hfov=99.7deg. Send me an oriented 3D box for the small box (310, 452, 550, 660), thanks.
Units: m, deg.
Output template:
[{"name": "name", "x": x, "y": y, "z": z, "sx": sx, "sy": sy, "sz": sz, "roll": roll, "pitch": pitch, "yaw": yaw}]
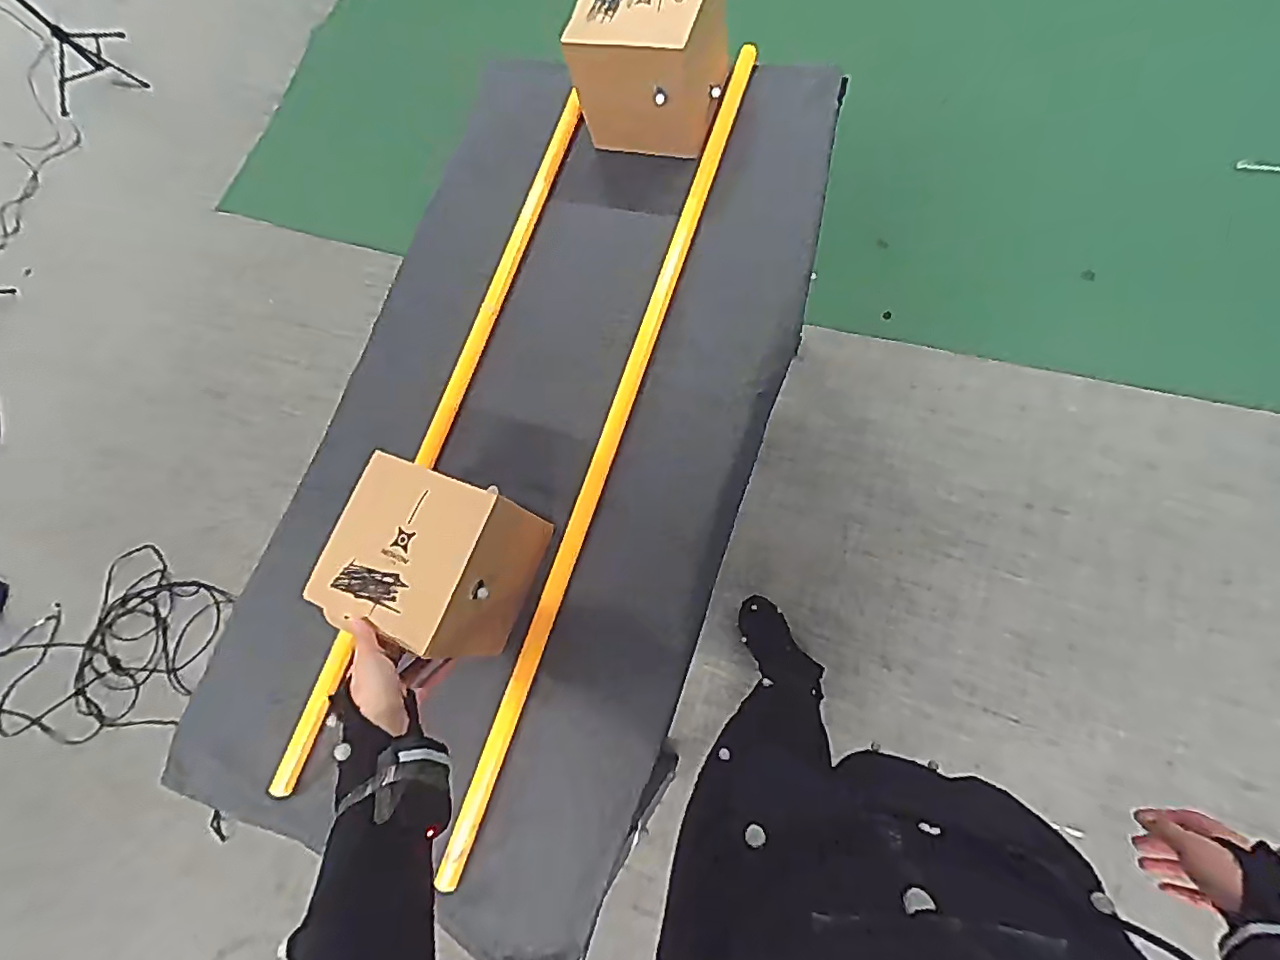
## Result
[{"name": "small box", "x": -0.228, "y": 0.094, "z": 0.635, "sx": 0.168, "sy": 0.176, "sz": 0.179, "roll": 19, "pitch": 78, "yaw": 16}]
